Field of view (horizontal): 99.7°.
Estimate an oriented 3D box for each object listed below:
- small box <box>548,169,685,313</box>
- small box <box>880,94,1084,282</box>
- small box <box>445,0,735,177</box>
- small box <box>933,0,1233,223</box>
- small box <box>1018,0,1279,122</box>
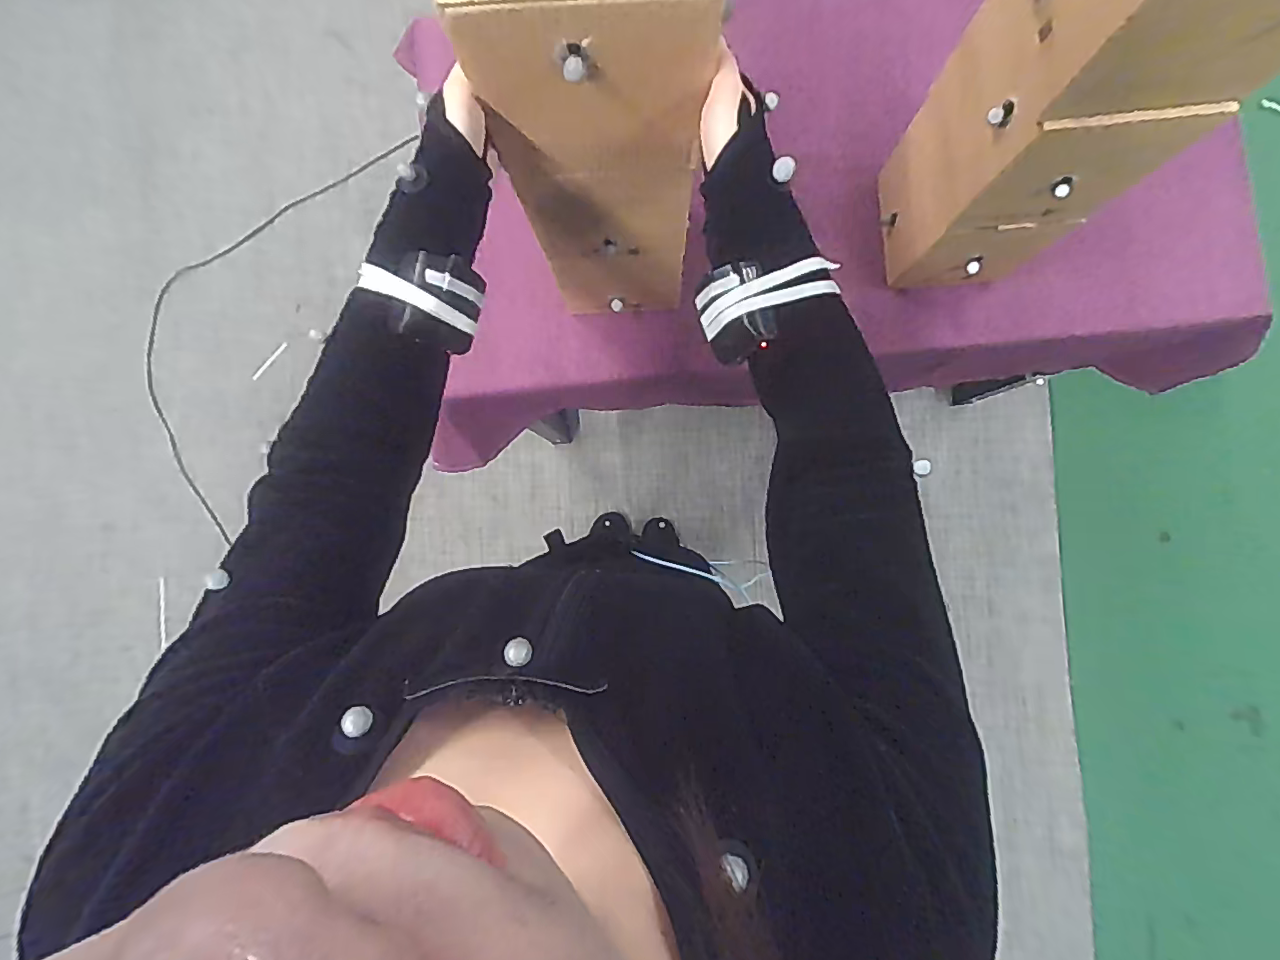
[{"bbox_3d":[-0.028,-0.343,0.732,0.168,0.176,0.179,-2,88,2],"label":"small box"},{"bbox_3d":[0.437,-0.376,0.718,0.168,0.176,0.179,-4,87,1],"label":"small box"},{"bbox_3d":[-0.028,-0.354,0.404,0.179,0.176,0.168,-1,88,3],"label":"small box"},{"bbox_3d":[0.428,-0.385,0.554,0.168,0.176,0.179,-4,87,1],"label":"small box"},{"bbox_3d":[0.418,-0.399,0.391,0.179,0.176,0.168,-4,86,3],"label":"small box"}]
